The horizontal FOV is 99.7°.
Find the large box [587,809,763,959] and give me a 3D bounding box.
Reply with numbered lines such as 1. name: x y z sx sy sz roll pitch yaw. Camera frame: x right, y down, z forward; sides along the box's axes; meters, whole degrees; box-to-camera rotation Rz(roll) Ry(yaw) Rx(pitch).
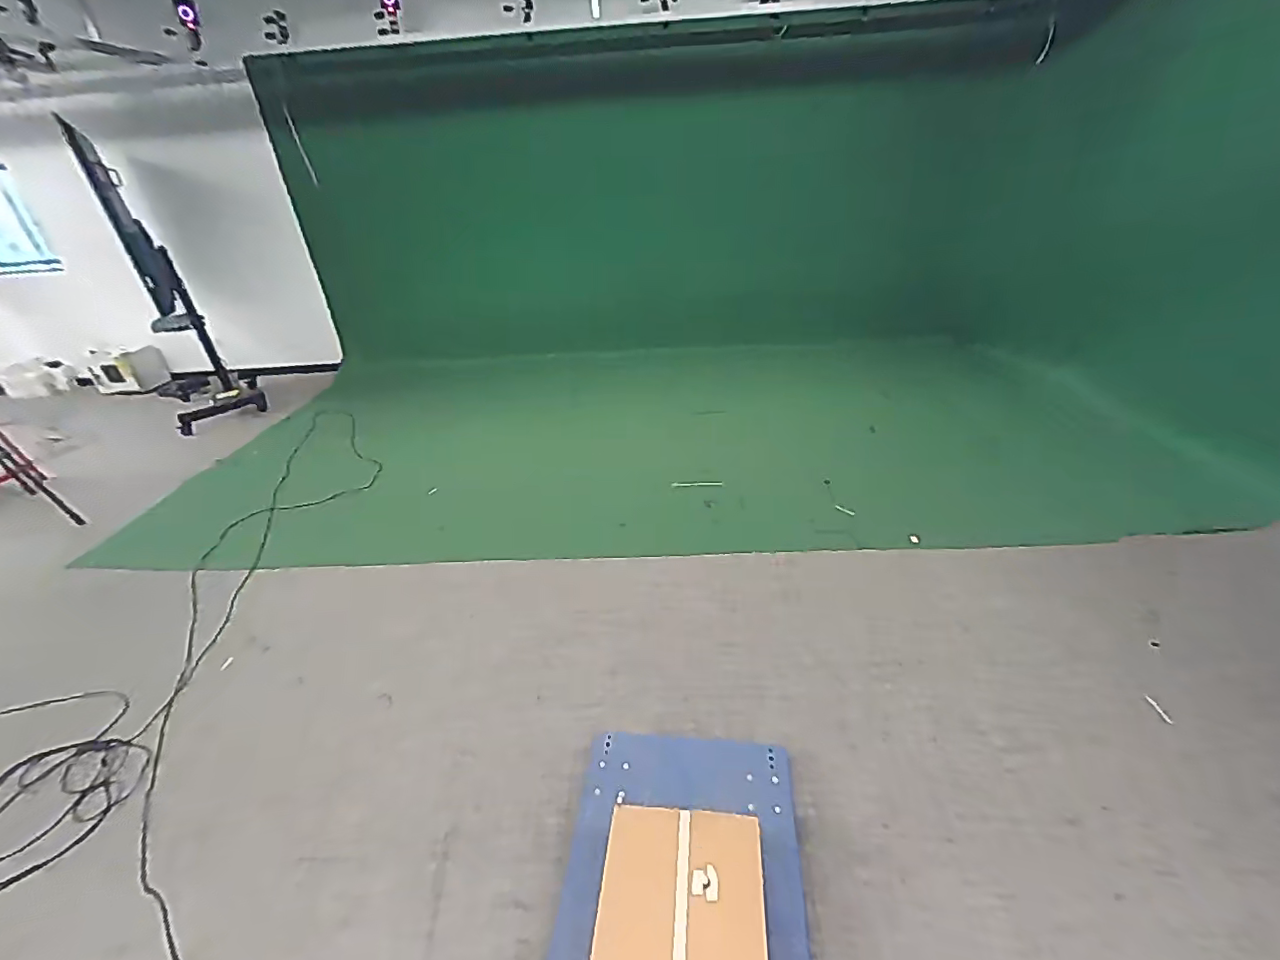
1. large box: 0.076 0.955 1.077 0.320 0.320 0.408 1 30 7
